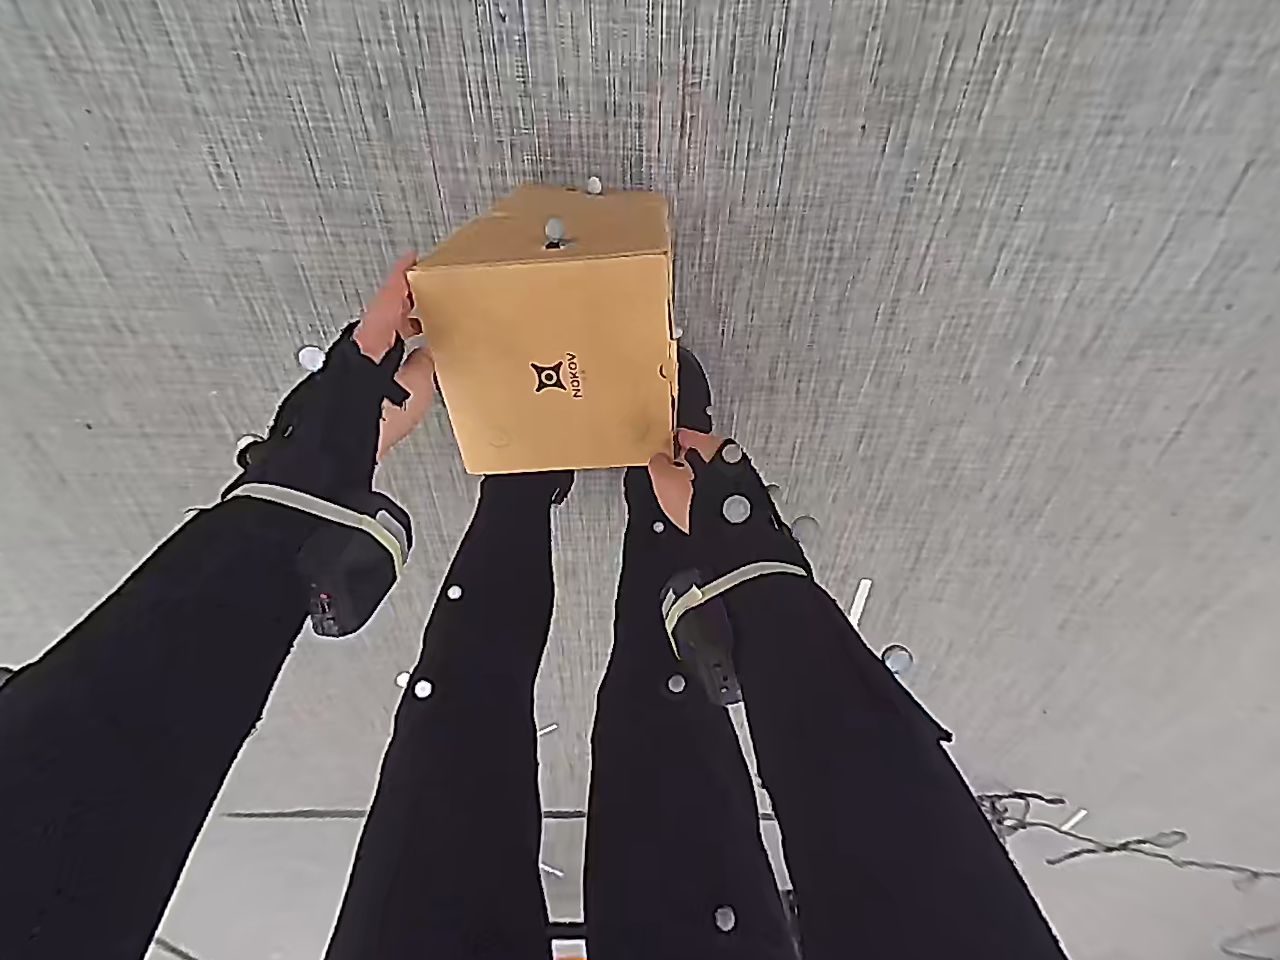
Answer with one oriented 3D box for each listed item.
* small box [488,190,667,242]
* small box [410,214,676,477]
[{"bbox_3d":[-0.060,-0.207,0.599,0.168,0.176,0.179,2,125,-2],"label":"small box"},{"bbox_3d":[-0.062,-0.119,0.462,0.179,0.176,0.168,-4,126,2],"label":"small box"}]
